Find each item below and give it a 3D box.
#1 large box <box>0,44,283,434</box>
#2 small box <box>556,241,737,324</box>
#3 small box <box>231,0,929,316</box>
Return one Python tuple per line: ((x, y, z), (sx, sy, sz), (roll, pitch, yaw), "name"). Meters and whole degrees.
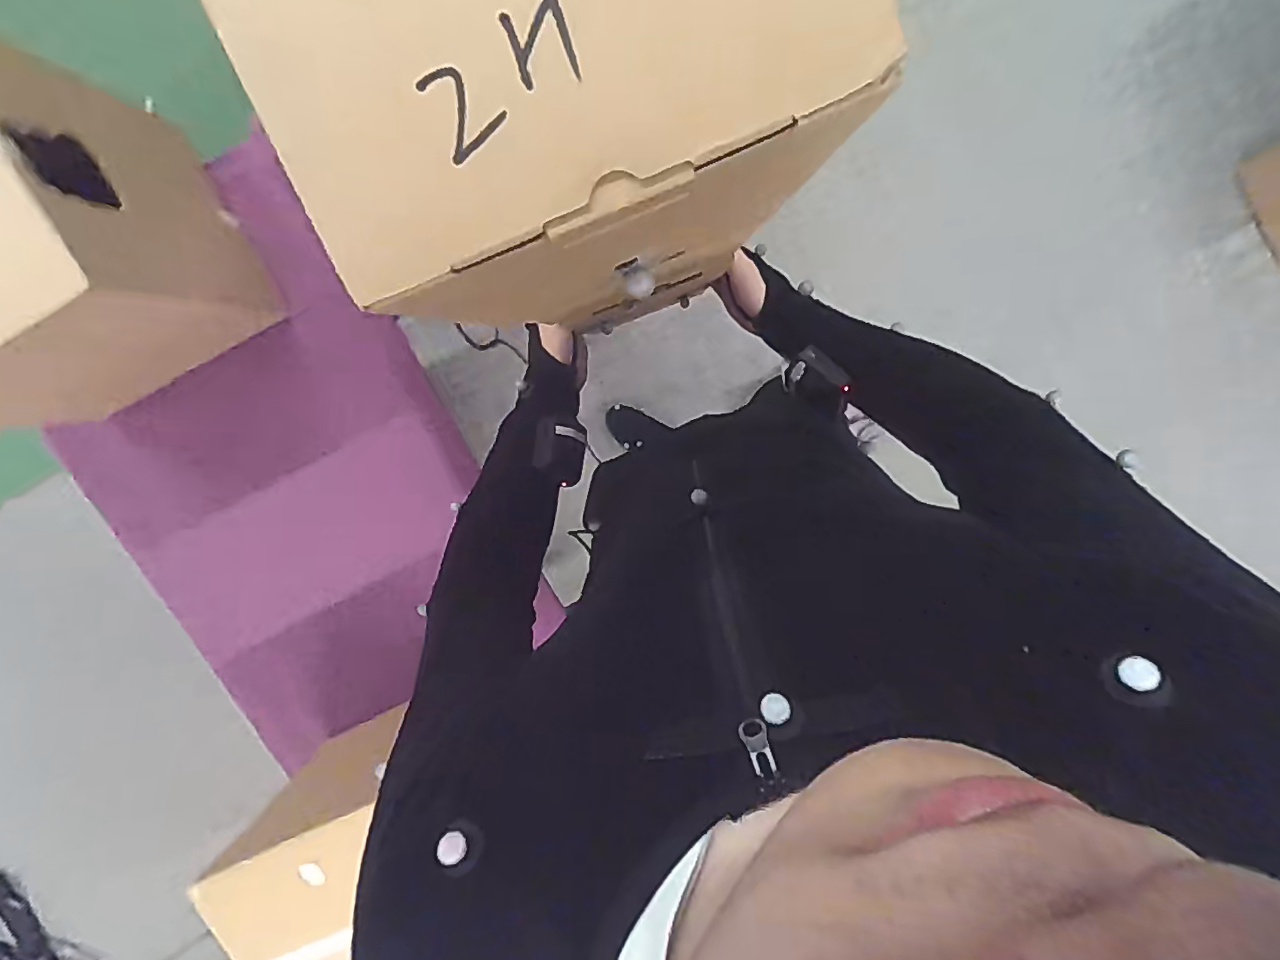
((-0.817, -0.283, 0.726), (0.408, 0.320, 0.320), (-26, 100, 7), "large box")
((-0.017, -0.260, 0.524), (0.168, 0.176, 0.179), (-18, 102, 4), "small box")
((-0.029, -0.176, 0.206), (0.168, 0.176, 0.179), (-20, 103, 6), "small box")
